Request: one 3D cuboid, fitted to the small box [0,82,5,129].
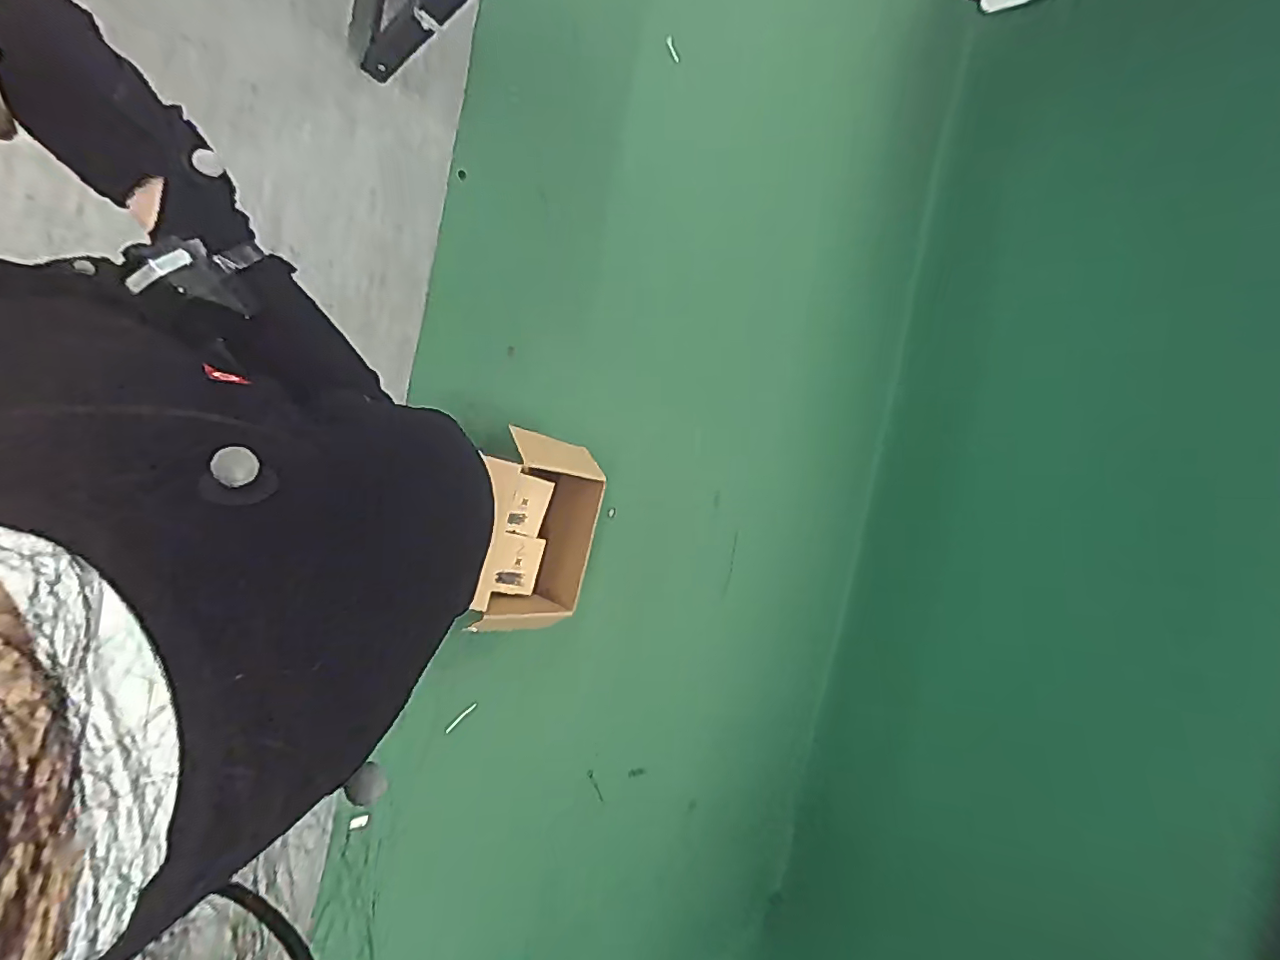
[{"bbox_3d":[-0.418,-0.264,0.219,0.168,0.176,0.179,-24,119,-40],"label":"small box"}]
